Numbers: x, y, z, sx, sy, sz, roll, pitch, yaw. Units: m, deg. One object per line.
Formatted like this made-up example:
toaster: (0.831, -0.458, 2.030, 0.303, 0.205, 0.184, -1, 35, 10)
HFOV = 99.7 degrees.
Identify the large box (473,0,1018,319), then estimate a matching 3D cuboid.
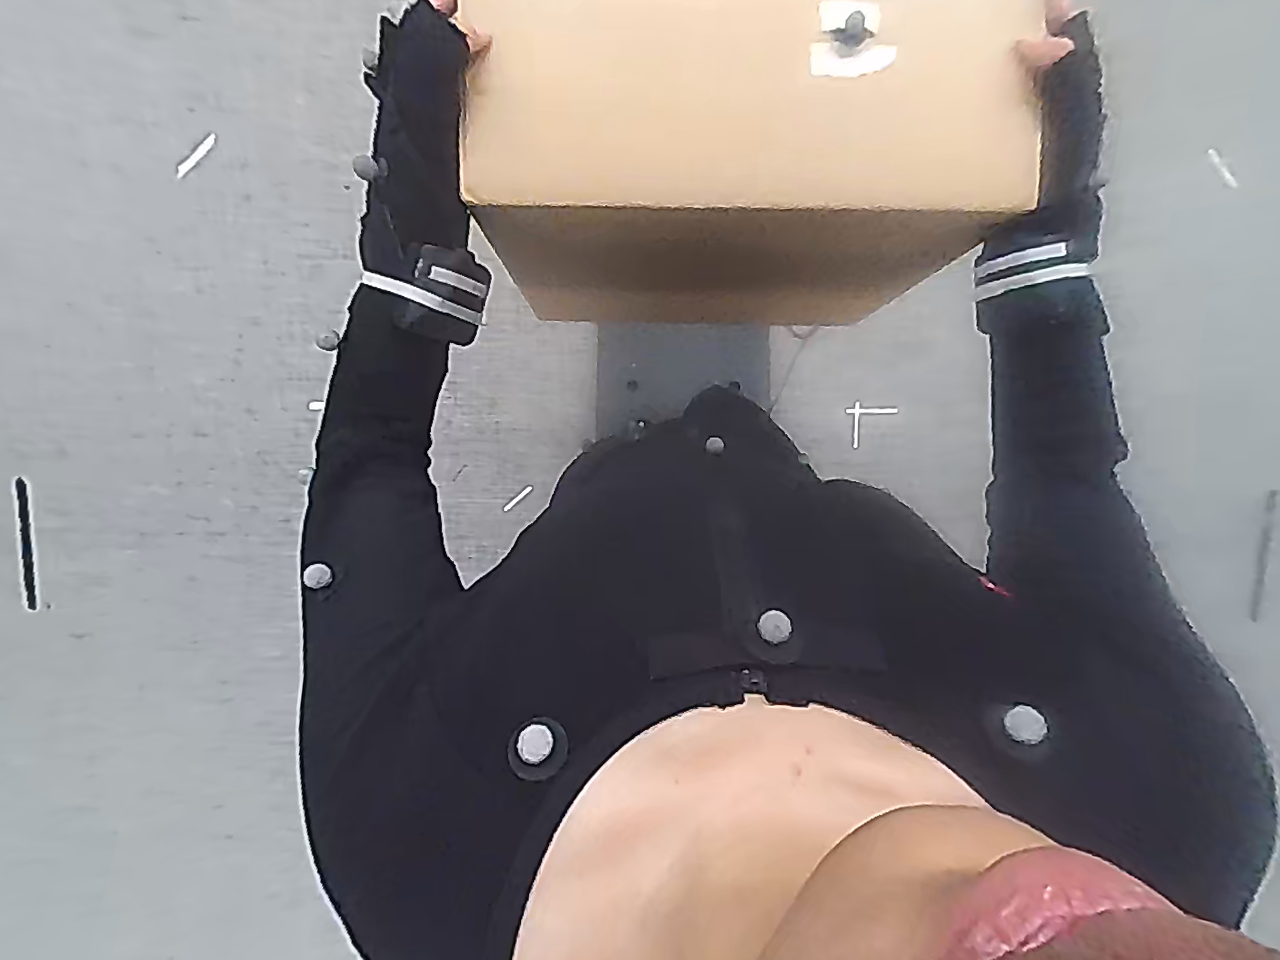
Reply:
large box: (0.073, -0.358, 0.541, 0.408, 0.320, 0.320, 0, 91, -1)
